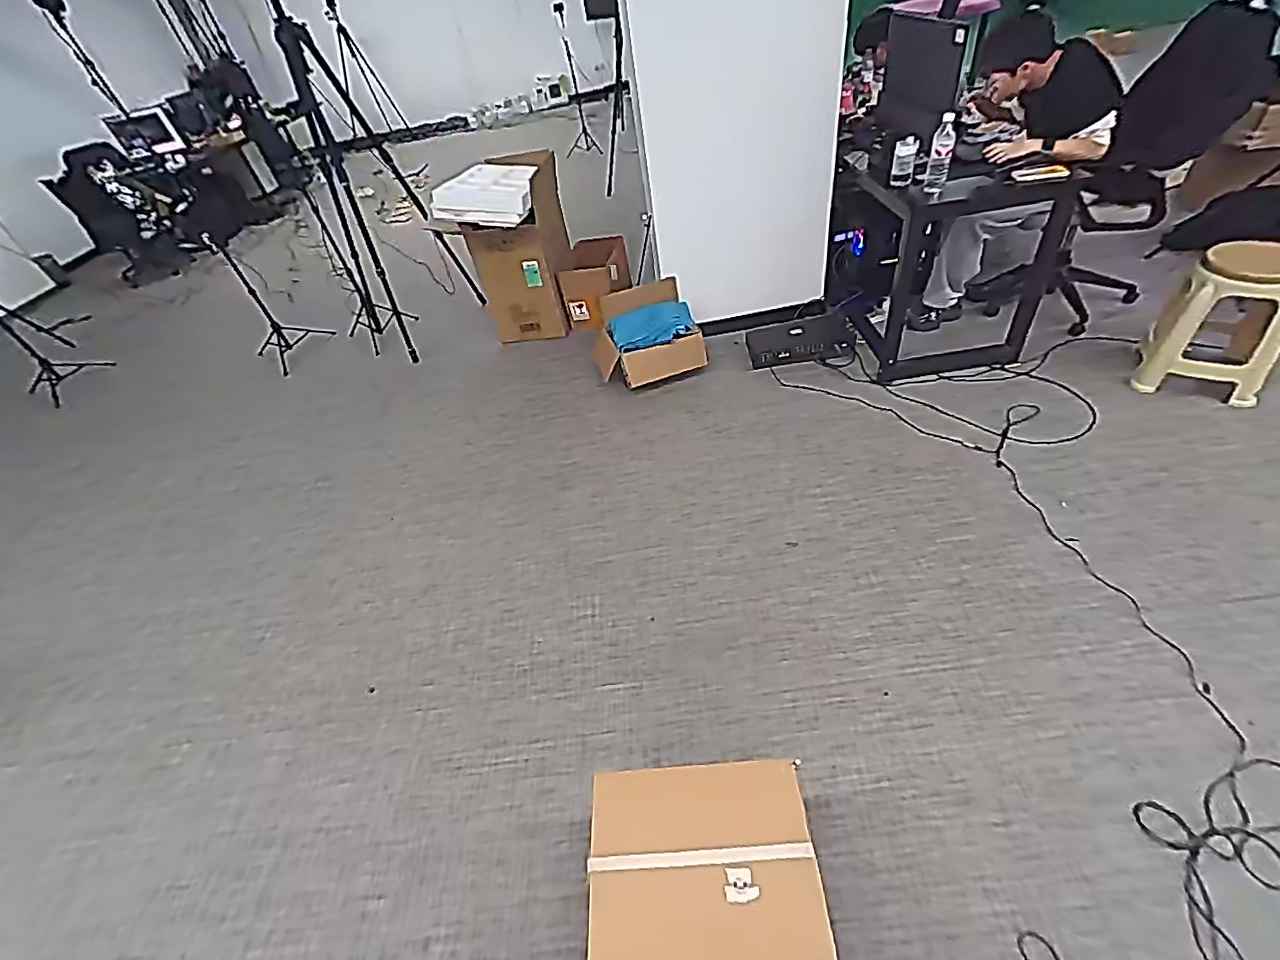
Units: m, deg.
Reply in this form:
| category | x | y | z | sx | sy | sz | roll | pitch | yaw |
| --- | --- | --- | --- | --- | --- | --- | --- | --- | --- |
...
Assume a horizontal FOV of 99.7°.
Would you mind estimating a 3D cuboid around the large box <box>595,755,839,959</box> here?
| category | x | y | z | sx | sy | sz | roll | pitch | yaw |
| --- | --- | --- | --- | --- | --- | --- | --- | --- | --- |
| large box | 0.136 | 0.783 | 1.078 | 0.408 | 0.320 | 0.320 | -7 | 44 | 5 |
